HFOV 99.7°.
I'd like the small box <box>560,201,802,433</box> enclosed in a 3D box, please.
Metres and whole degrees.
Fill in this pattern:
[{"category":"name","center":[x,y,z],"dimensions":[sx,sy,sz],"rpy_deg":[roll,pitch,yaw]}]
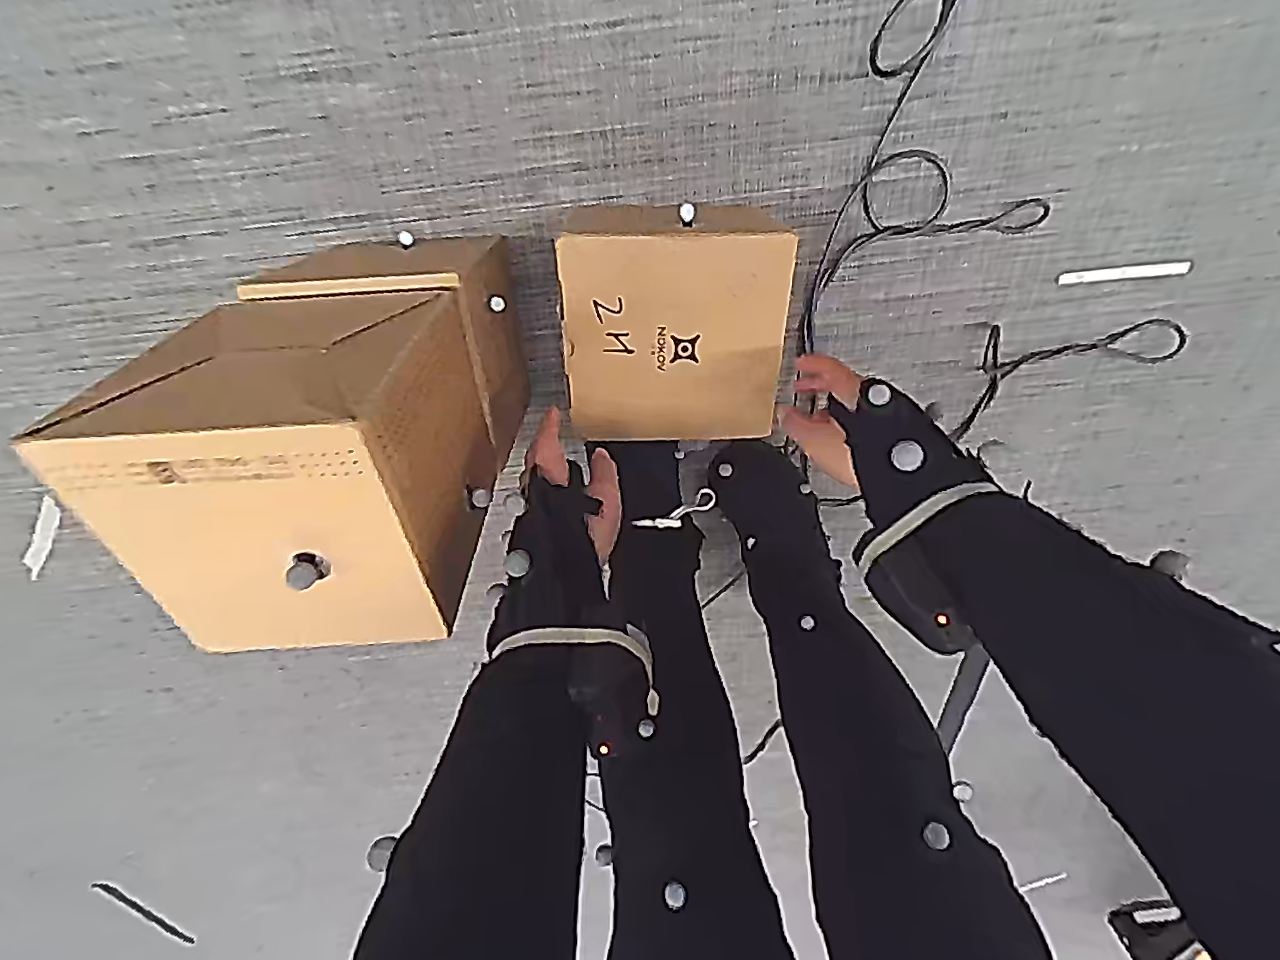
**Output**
[{"category":"small box","center":[0.025,-0.153,0.488],"dimensions":[0.179,0.176,0.168],"rpy_deg":[-1,122,-2]}]
